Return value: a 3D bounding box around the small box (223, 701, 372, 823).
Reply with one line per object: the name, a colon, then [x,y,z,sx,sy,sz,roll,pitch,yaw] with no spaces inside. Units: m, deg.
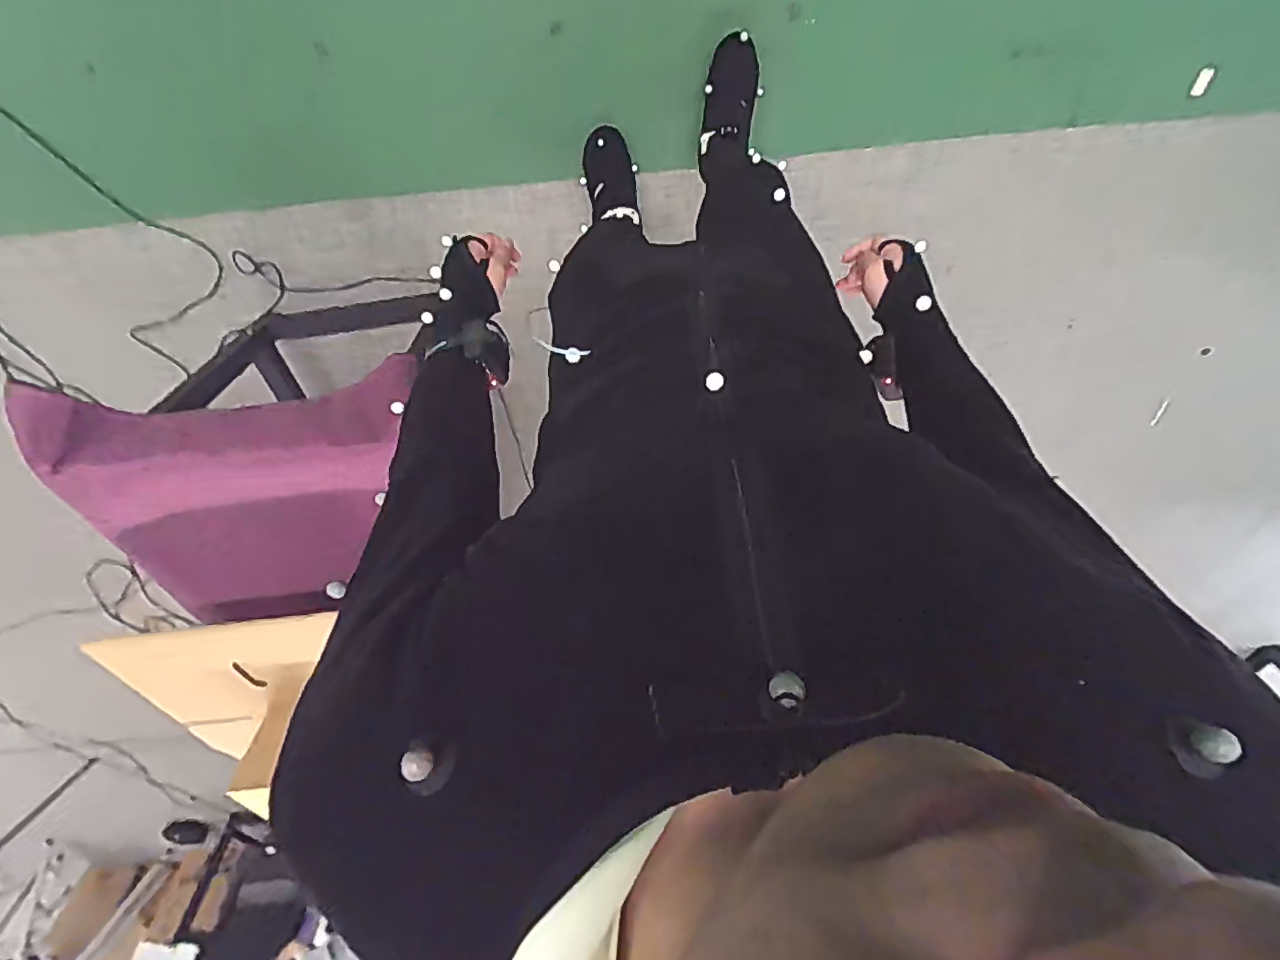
small box: [-0.670,0.565,1.092,0.179,0.176,0.168,-7,129,4]
